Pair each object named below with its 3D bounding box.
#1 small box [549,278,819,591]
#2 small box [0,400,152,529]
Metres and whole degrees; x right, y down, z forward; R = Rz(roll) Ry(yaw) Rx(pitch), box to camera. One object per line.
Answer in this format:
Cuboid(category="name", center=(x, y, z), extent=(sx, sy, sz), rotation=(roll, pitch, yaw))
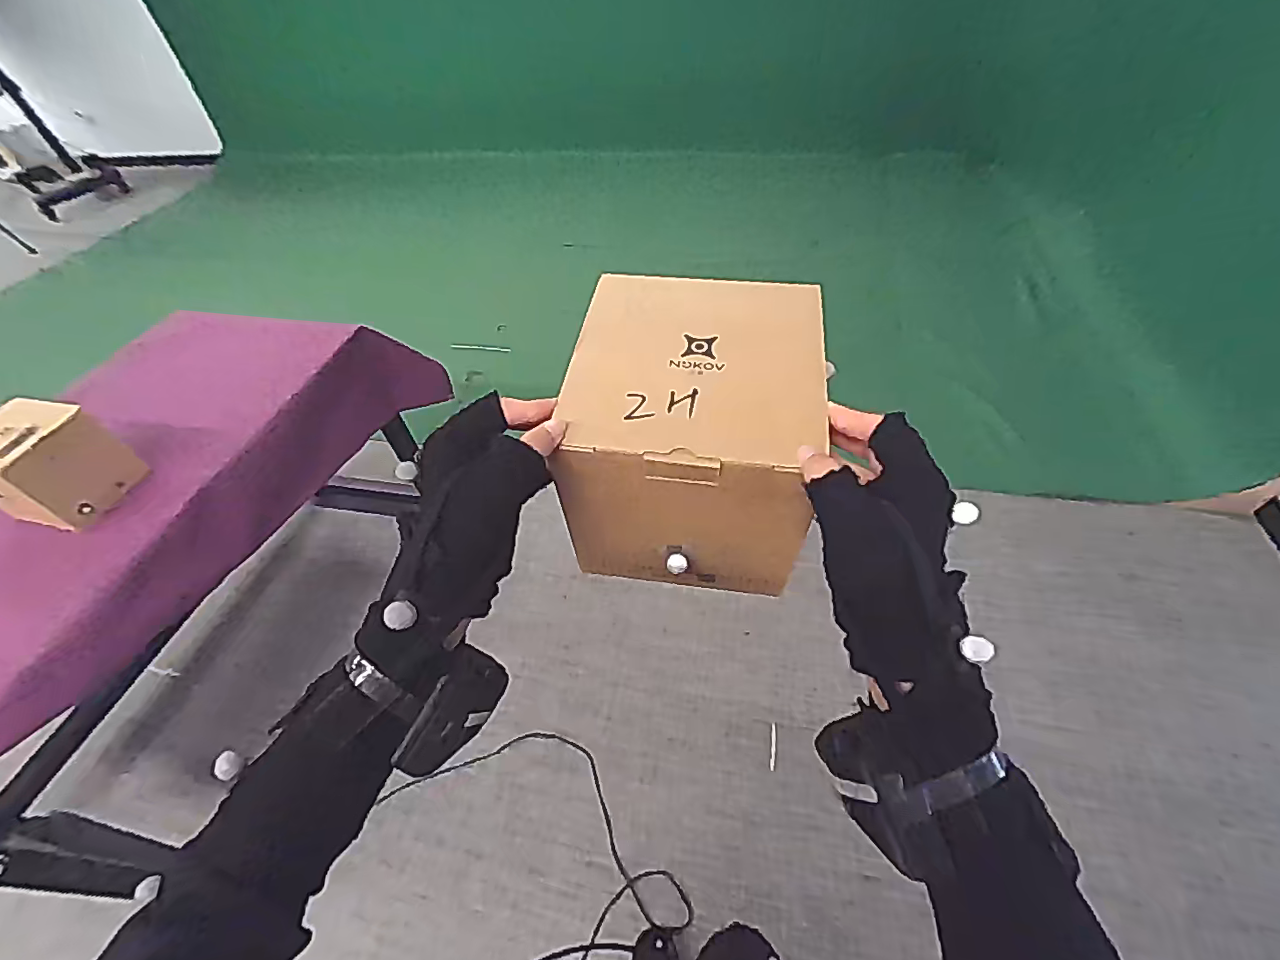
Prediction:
Cuboid(category="small box", center=(0.040, -0.035, 0.433), extent=(0.168, 0.176, 0.179), rotation=(6, 54, 8))
Cuboid(category="small box", center=(-1.098, -0.026, 1.019), extent=(0.179, 0.176, 0.168), rotation=(8, 50, 13))
